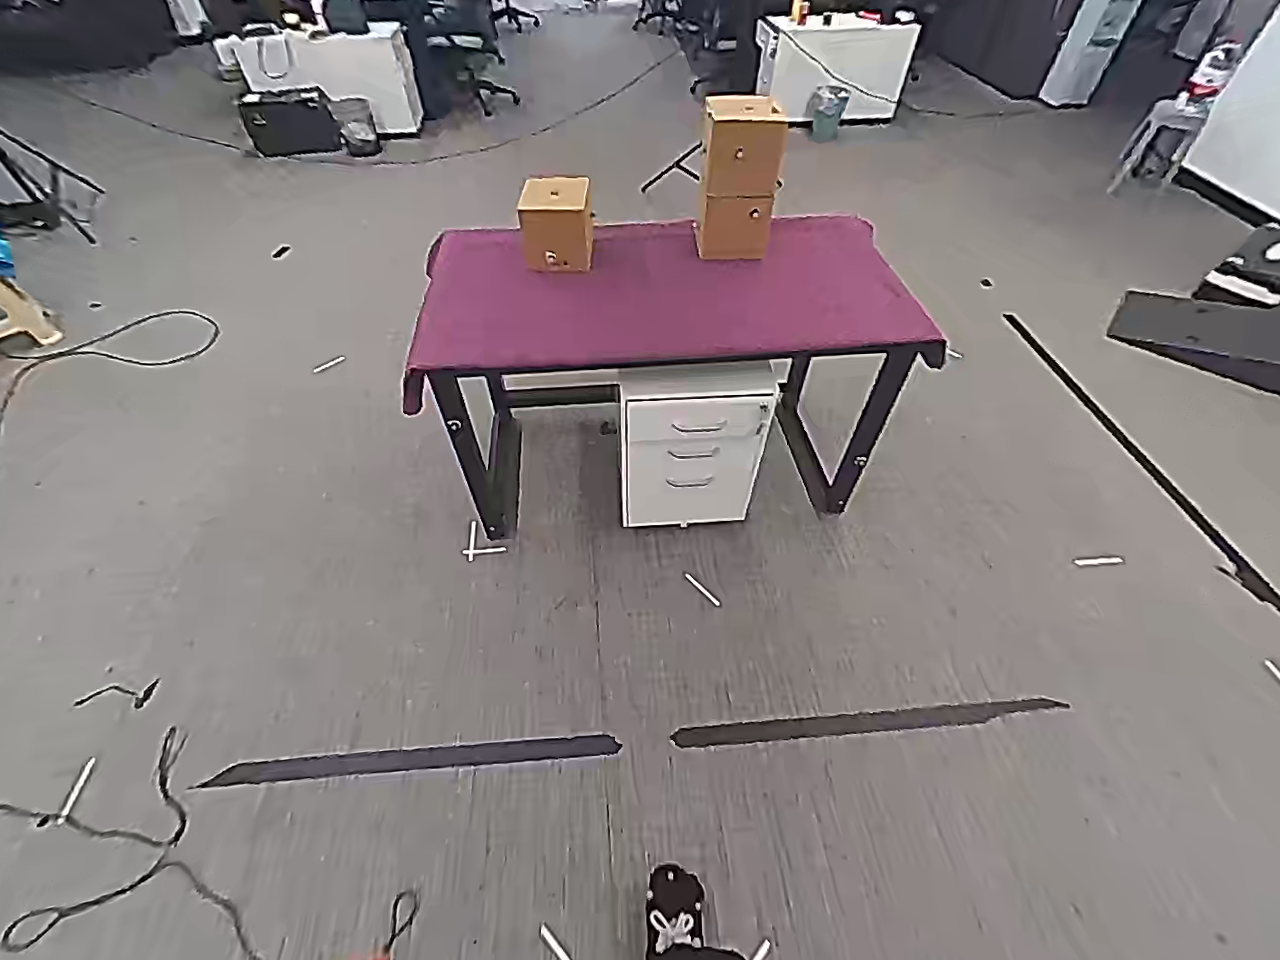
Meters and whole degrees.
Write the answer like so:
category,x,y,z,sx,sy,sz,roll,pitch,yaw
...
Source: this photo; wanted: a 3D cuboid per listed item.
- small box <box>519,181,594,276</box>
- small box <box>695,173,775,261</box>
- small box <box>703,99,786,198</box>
category,x,y,z,sx,sy,sz,roll,pitch,yaw
small box,-0.212,-0.660,1.420,0.168,0.176,0.179,0,52,1
small box,0.249,-0.709,1.459,0.179,0.176,0.168,-2,51,-1
small box,0.247,-0.814,1.333,0.179,0.176,0.168,-1,51,0
